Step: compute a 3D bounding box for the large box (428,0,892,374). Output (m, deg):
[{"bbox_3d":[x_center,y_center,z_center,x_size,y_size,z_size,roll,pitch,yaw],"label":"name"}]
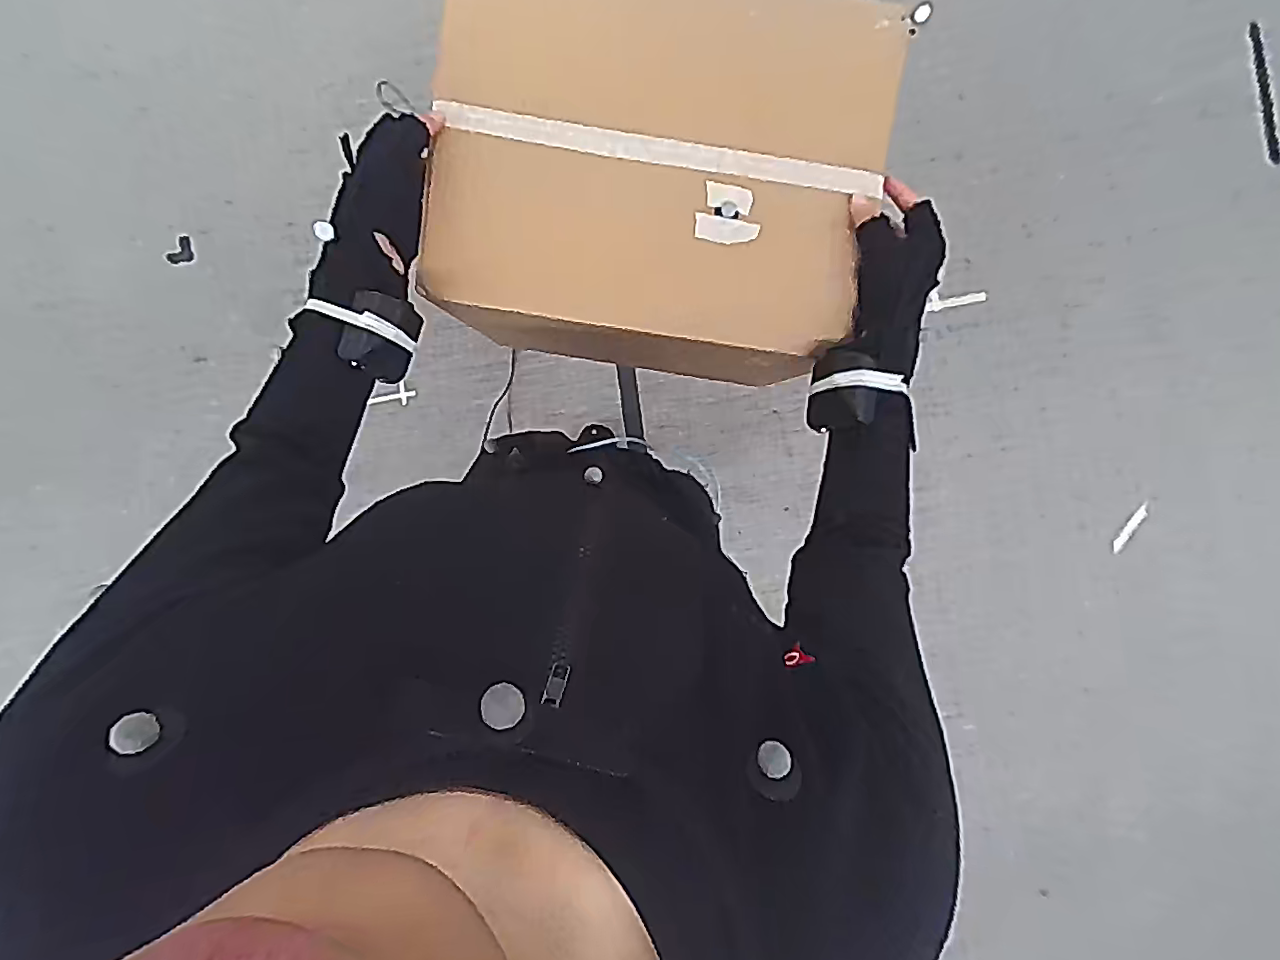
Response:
[{"bbox_3d":[0.009,-0.316,0.644,0.408,0.320,0.320,8,97,-3],"label":"large box"}]
